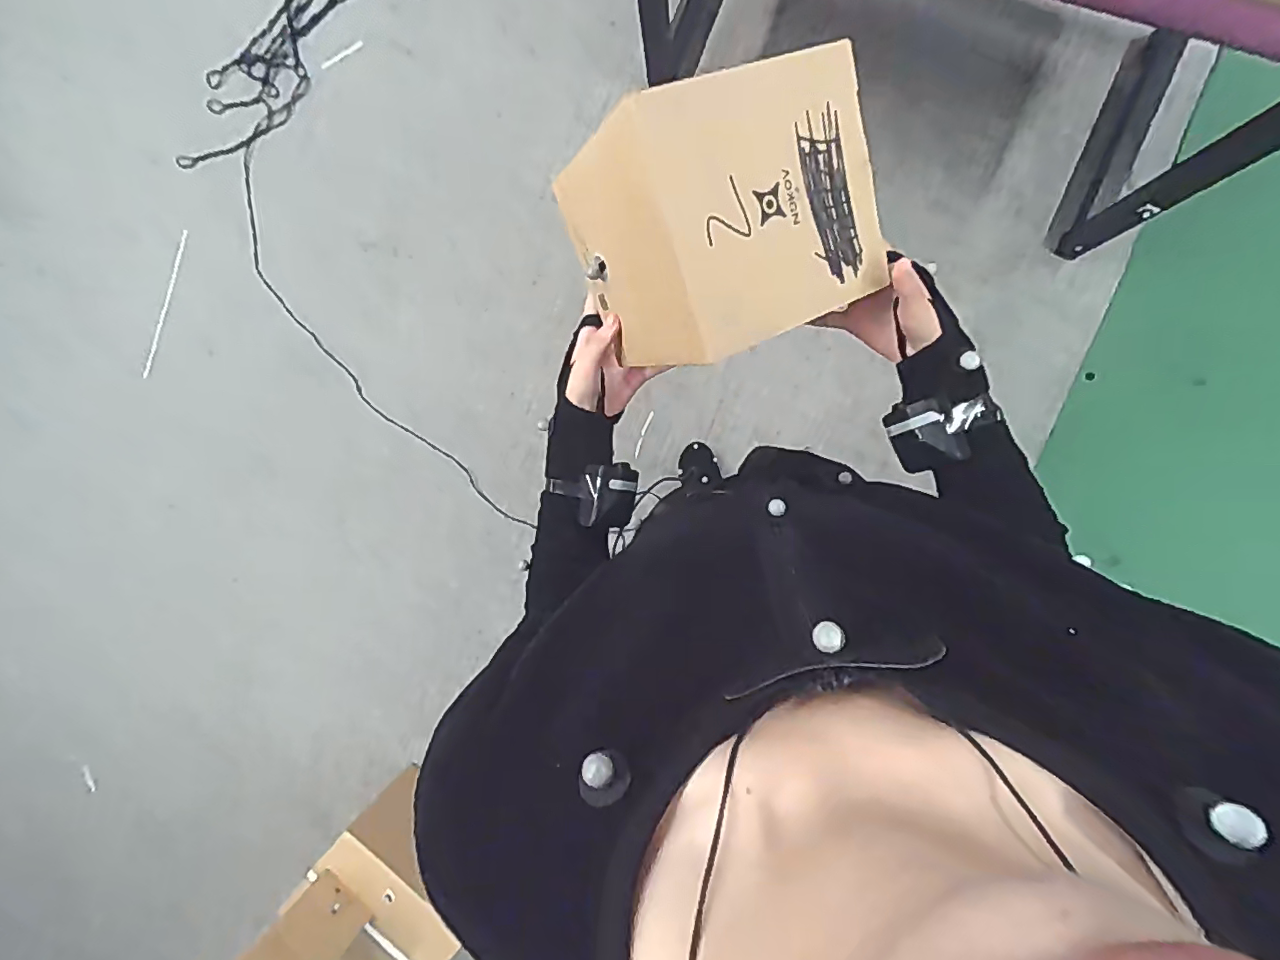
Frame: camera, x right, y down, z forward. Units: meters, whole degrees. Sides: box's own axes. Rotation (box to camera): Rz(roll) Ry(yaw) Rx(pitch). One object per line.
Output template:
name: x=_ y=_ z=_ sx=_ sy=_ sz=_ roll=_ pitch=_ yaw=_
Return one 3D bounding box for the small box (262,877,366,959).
small box: x=-0.780 y=1.087 z=1.249 sx=0.168 sy=0.176 sz=0.179 roll=41 pitch=97 yaw=3

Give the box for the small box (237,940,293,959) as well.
small box: x=-0.807 y=1.089 z=1.089 sx=0.179 sy=0.176 sz=0.168 roll=42 pitch=97 yaw=3

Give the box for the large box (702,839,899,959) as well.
large box: x=0.376 y=1.187 z=1.373 sx=0.408 sy=0.320 sz=0.320 roll=8 pitch=93 yaw=5
